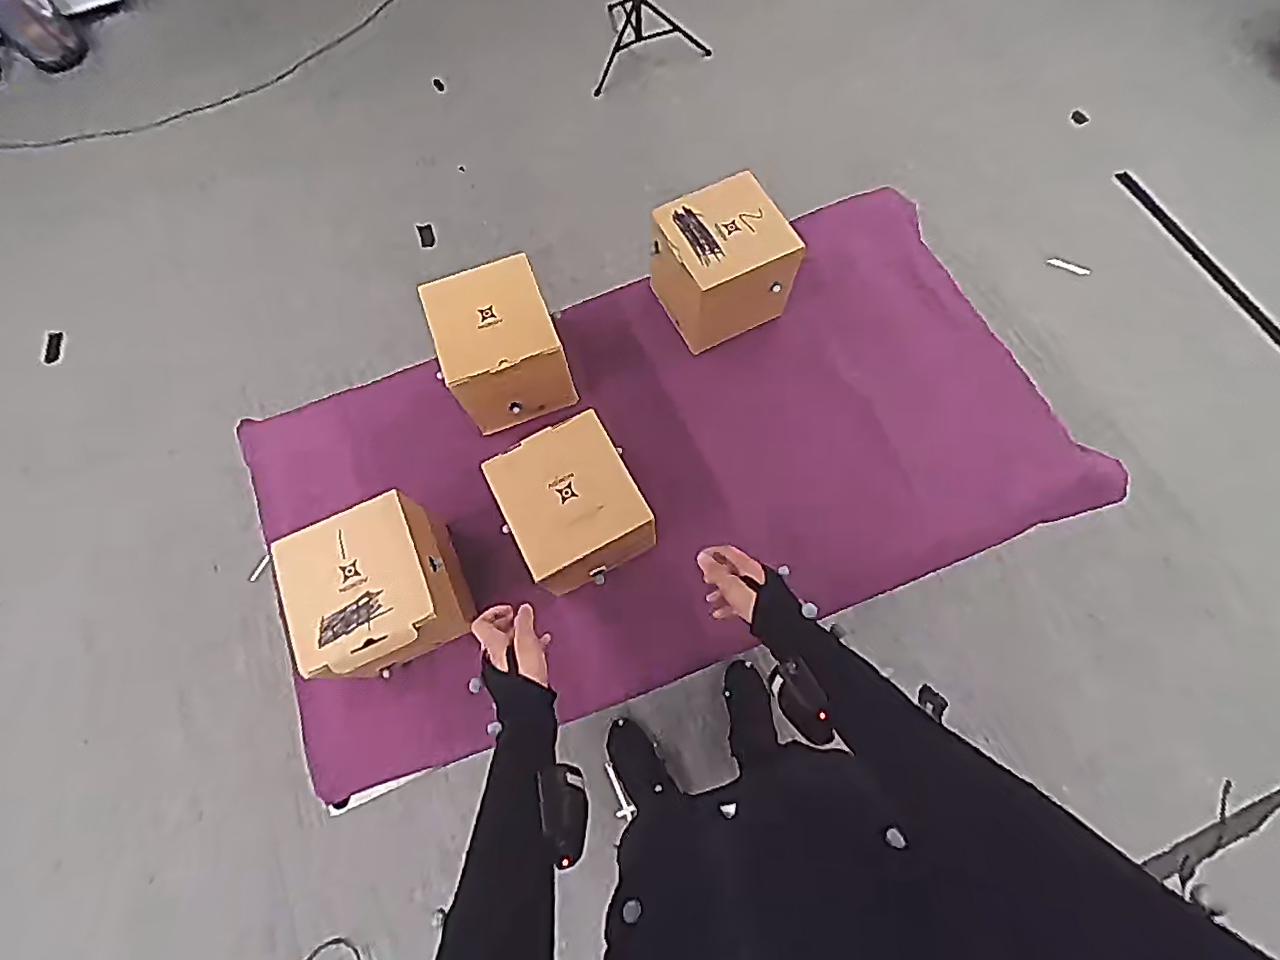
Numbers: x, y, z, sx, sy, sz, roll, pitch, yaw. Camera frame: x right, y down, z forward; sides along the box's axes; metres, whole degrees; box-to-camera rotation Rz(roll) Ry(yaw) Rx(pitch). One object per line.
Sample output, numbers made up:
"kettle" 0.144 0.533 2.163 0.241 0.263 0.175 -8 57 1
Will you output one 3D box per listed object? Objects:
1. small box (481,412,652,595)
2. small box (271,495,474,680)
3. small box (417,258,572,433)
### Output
"small box" -0.094 0.042 0.757 0.168 0.176 0.179 -28 73 -7
"small box" -0.345 0.149 0.726 0.168 0.176 0.179 -25 71 -7
"small box" -0.216 -0.200 0.838 0.168 0.176 0.179 -21 73 -6
